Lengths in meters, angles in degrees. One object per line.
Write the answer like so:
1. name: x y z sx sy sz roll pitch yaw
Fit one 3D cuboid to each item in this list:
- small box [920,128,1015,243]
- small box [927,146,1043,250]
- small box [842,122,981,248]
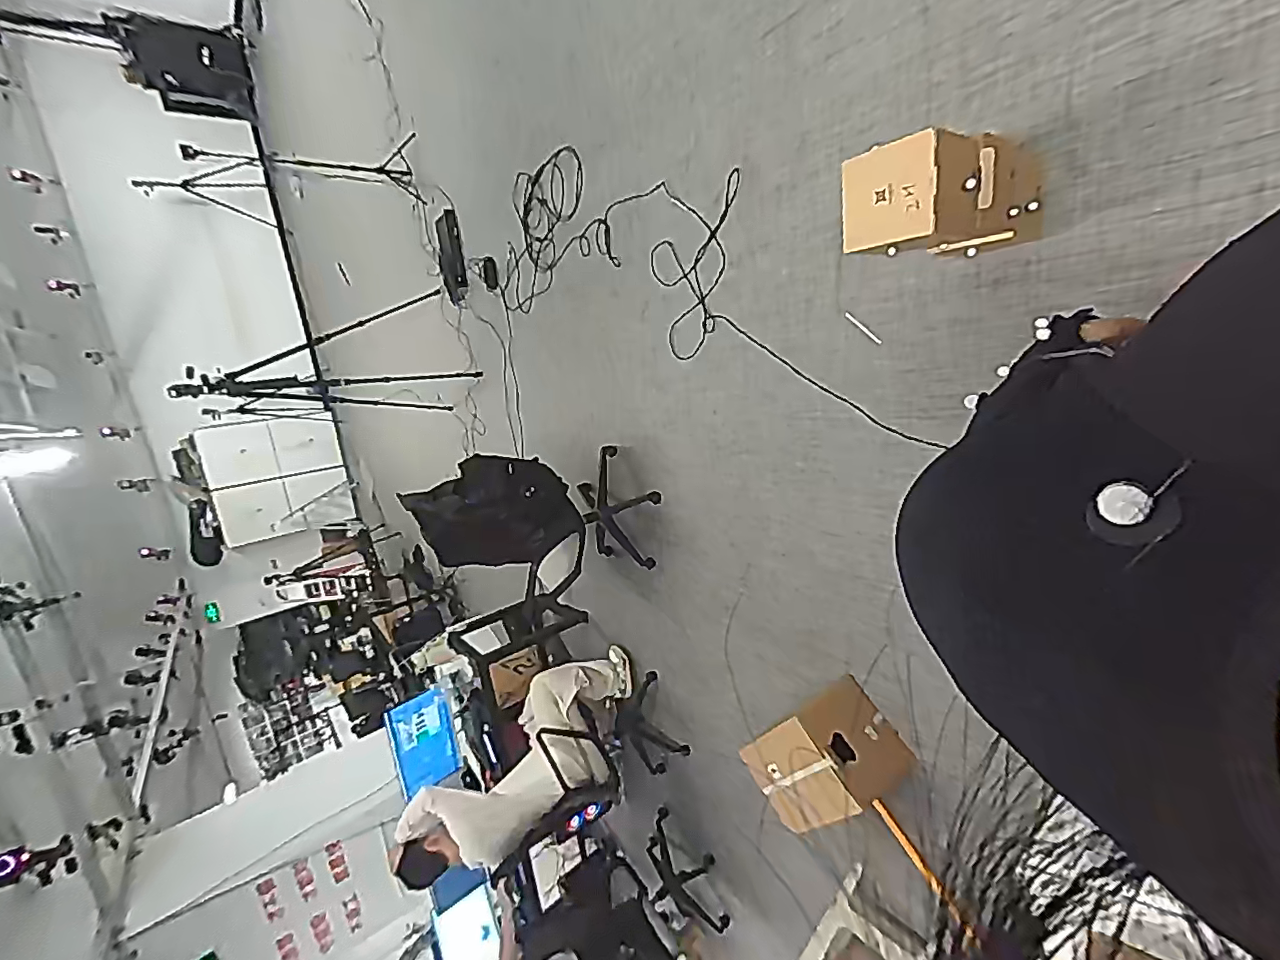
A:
1. small box: 0.634 -0.587 1.100 0.179 0.176 0.168 12 113 52
2. small box: 0.764 -0.614 1.198 0.179 0.176 0.168 11 112 52
3. small box: 0.504 -0.536 1.012 0.179 0.176 0.168 12 113 51
